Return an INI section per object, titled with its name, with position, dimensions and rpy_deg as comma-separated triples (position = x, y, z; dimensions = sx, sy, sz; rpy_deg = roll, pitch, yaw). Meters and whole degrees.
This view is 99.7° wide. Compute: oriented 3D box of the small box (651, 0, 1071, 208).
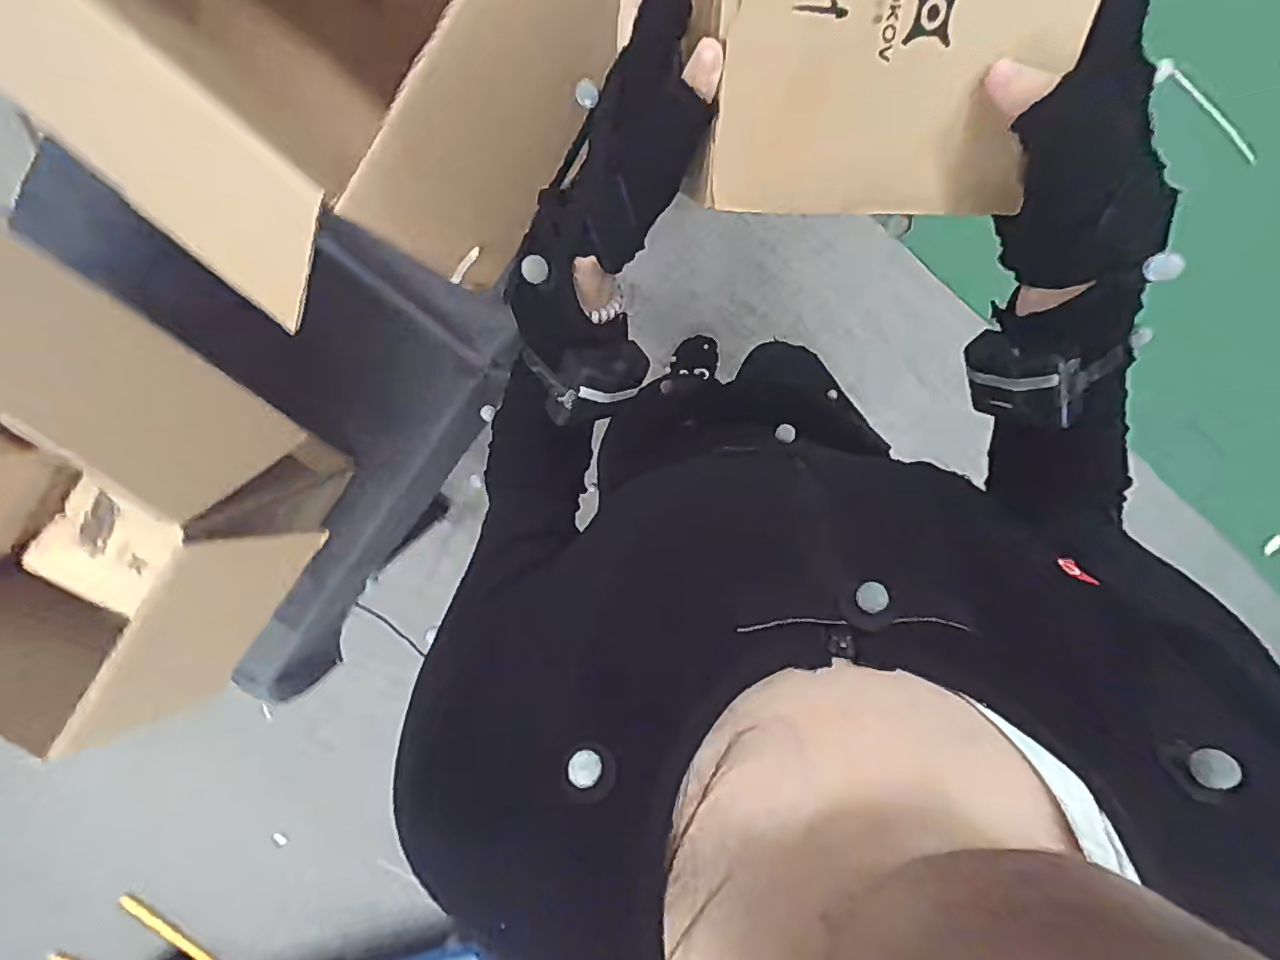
[small box]
position = 0.107, -0.260, 0.311
dimensions = 0.179, 0.176, 0.168
rpy_deg = -3, 124, -6
